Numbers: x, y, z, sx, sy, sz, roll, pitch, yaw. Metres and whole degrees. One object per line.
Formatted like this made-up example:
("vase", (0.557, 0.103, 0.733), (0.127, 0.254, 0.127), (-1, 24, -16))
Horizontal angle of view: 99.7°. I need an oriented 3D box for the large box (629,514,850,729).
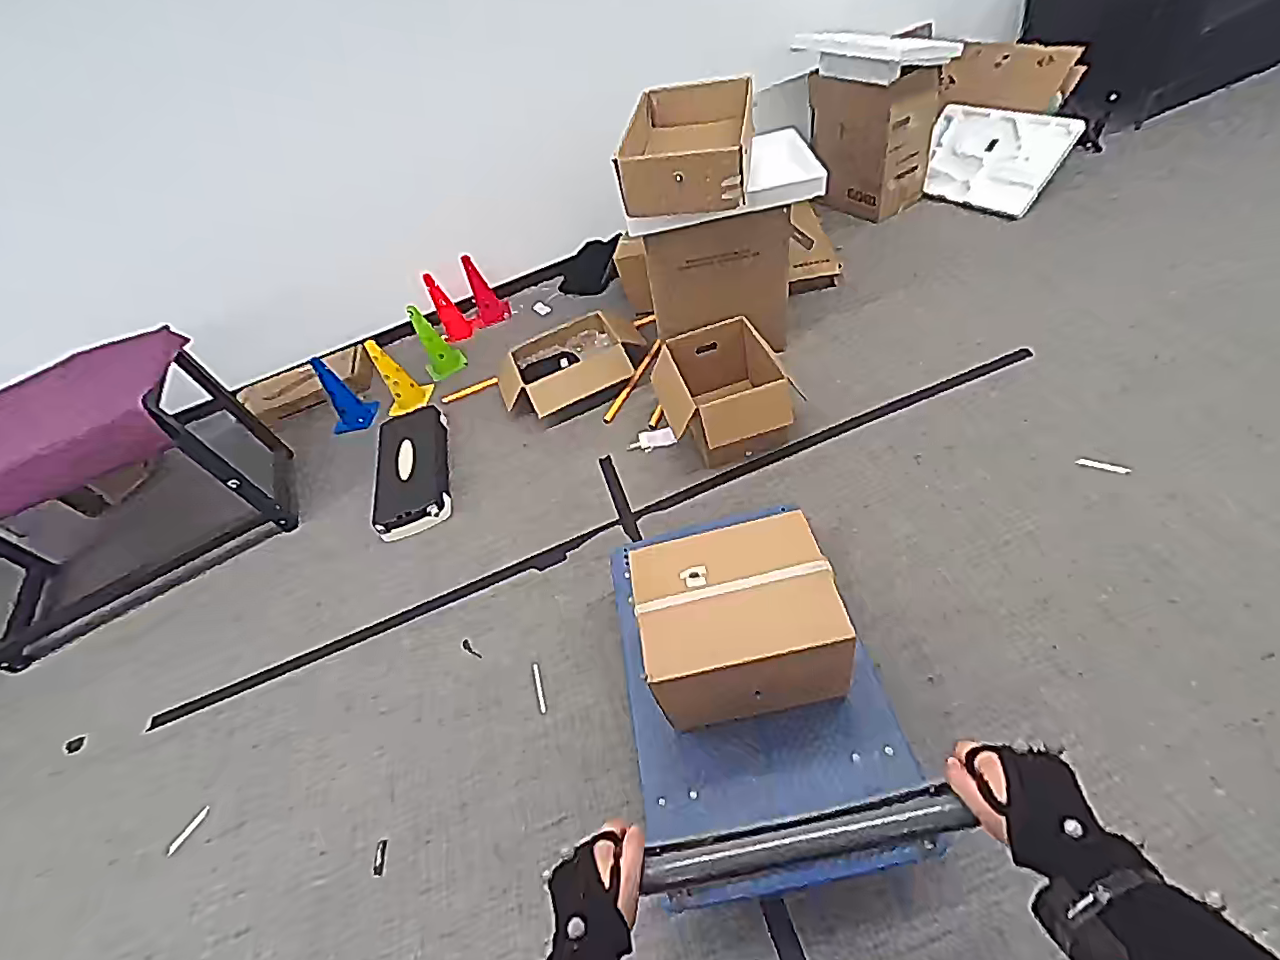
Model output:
("large box", (0.223, 0.331, 1.242), (0.408, 0.320, 0.320), (-15, 46, 5))
